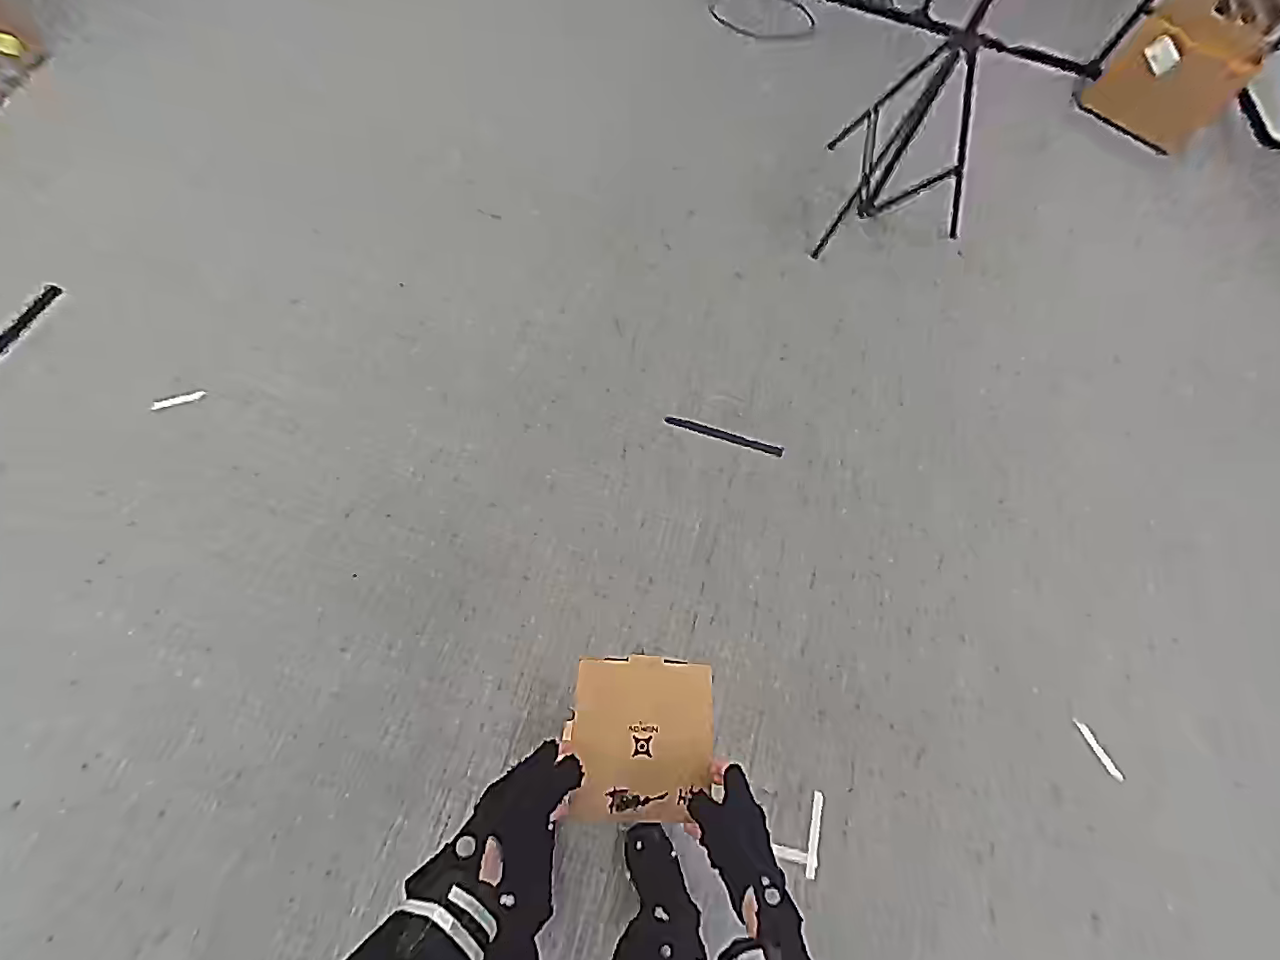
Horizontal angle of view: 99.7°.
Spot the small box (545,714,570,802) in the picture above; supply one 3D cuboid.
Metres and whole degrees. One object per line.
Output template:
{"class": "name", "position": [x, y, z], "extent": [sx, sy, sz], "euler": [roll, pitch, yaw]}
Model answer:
{"class": "small box", "position": [-0.096, 0.618, 1.189], "extent": [0.179, 0.176, 0.168], "euler": [15, 65, 1]}

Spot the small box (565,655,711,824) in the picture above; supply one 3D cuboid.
{"class": "small box", "position": [-0.009, 0.324, 0.705], "extent": [0.168, 0.176, 0.179], "euler": [5, 72, -6]}
